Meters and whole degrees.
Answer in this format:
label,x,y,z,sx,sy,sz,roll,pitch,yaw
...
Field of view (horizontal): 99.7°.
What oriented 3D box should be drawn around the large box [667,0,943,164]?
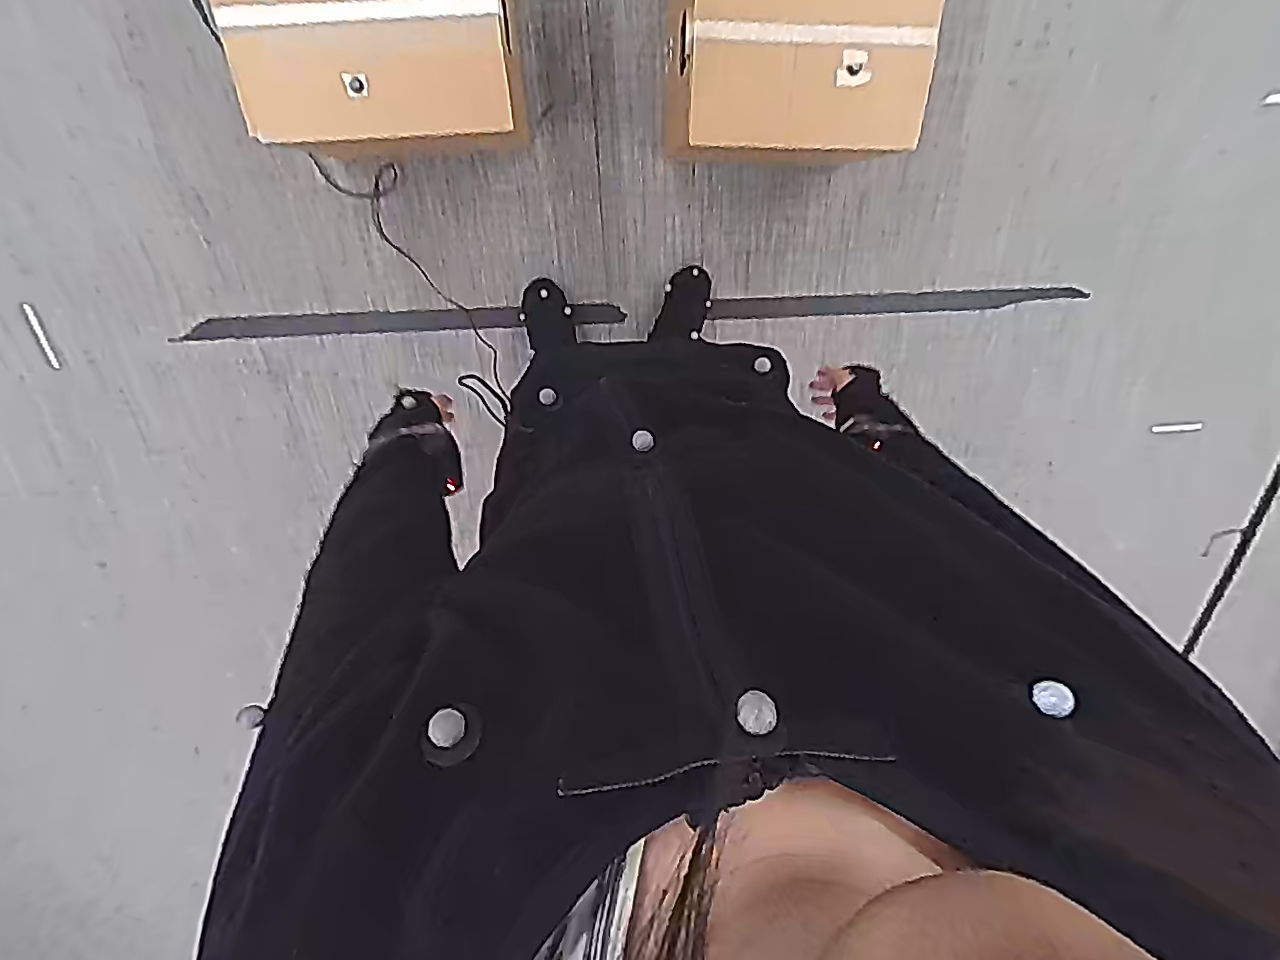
label,x,y,z,sx,sy,sz,roll,pitch,yaw
large box,0.267,-0.778,0.998,0.408,0.320,0.320,-2,116,-6
